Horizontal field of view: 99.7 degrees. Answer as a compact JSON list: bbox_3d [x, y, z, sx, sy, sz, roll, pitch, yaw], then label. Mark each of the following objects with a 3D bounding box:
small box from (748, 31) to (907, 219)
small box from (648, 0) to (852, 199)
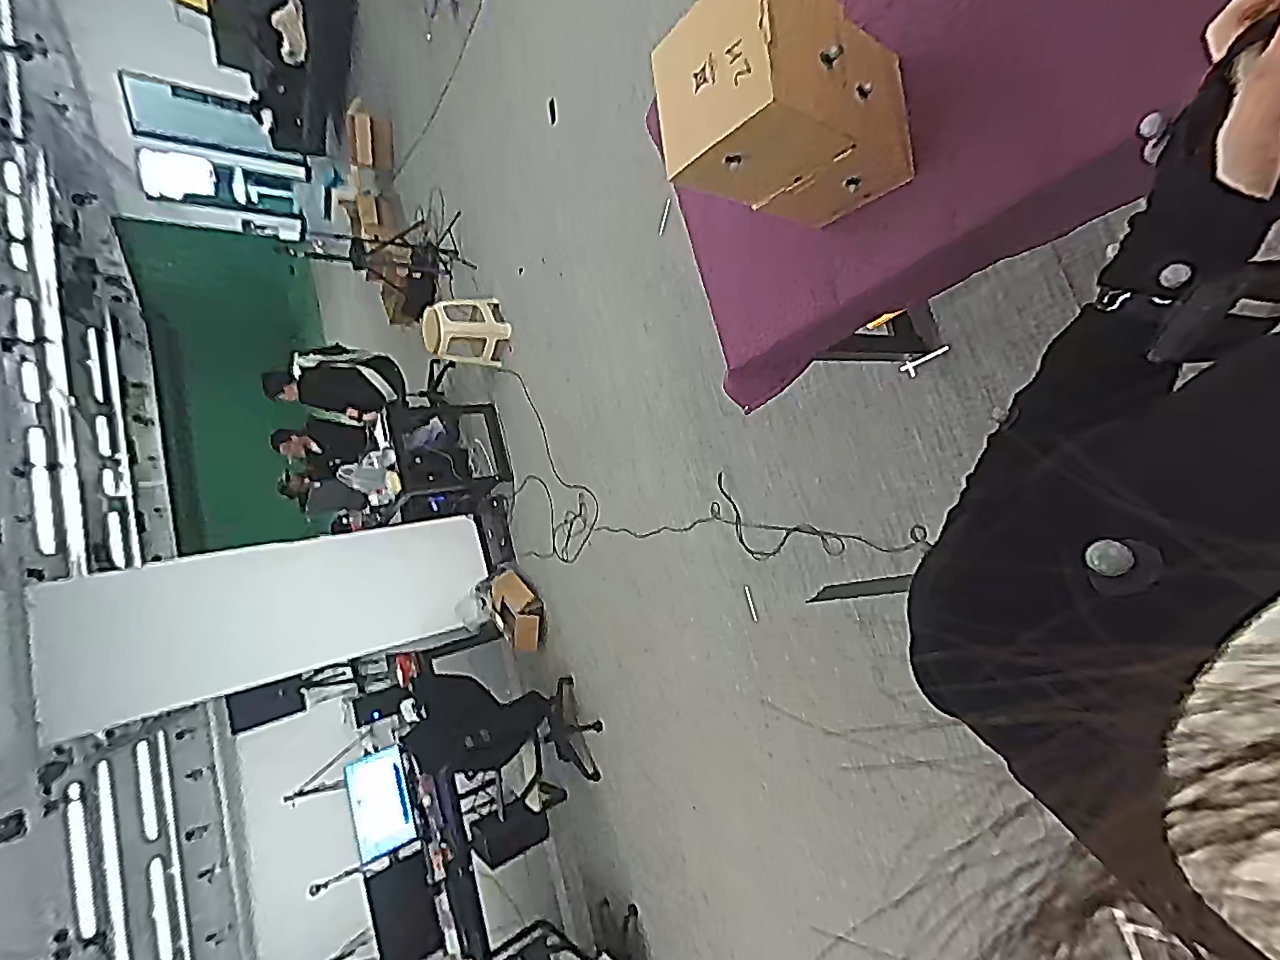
[{"bbox_3d":[0.262,-0.499,0.780,0.168,0.176,0.179,-7,91,52],"label":"small box"},{"bbox_3d":[0.136,-0.480,0.677,0.179,0.176,0.168,-5,94,52],"label":"small box"}]
